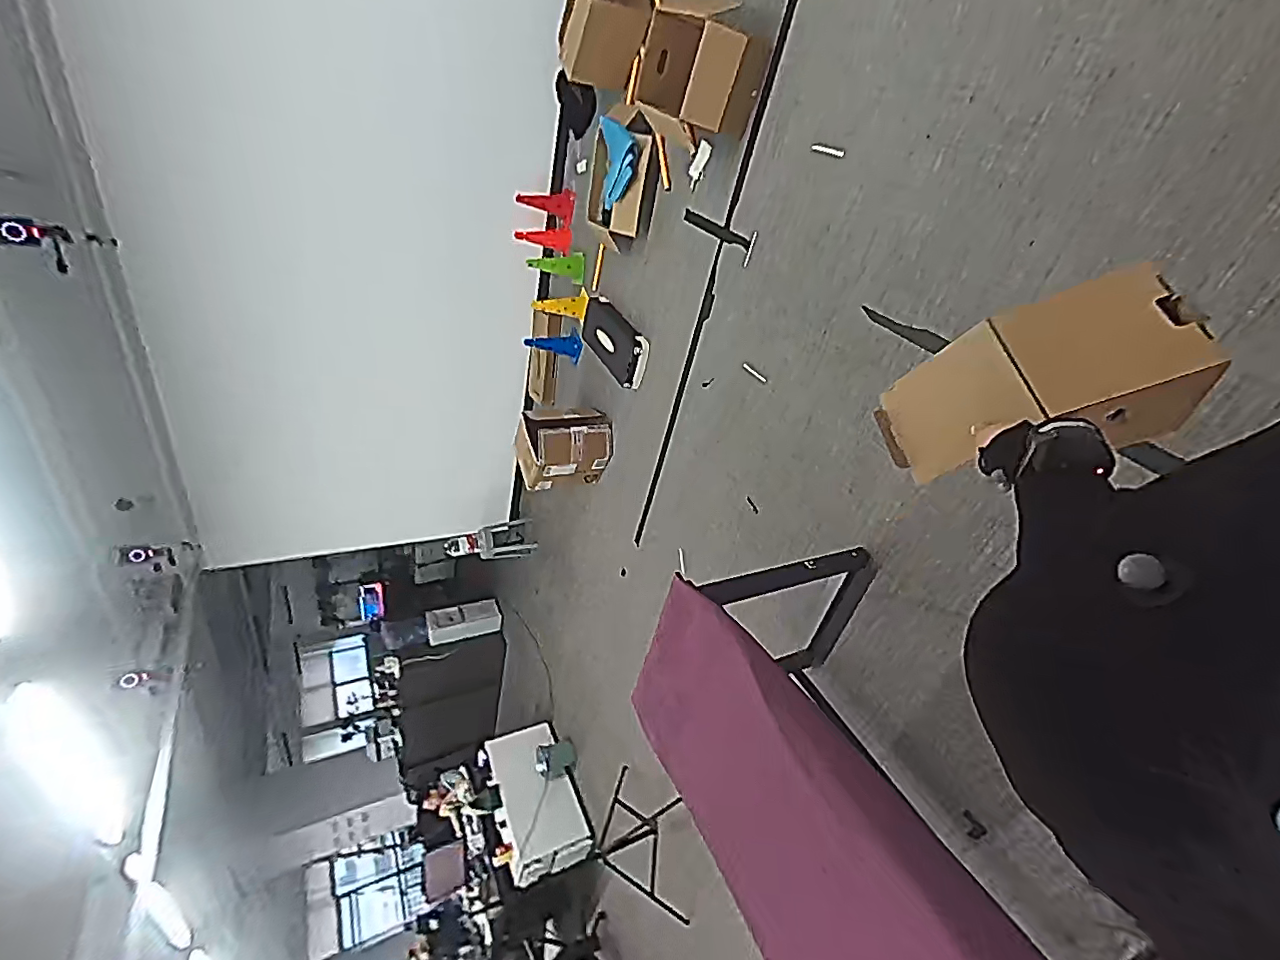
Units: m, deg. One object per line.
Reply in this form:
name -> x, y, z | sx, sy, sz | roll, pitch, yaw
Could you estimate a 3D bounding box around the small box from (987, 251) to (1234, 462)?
small box -> 0.570, -0.143, 0.691 | 0.179, 0.176, 0.168 | -19, 61, 21
